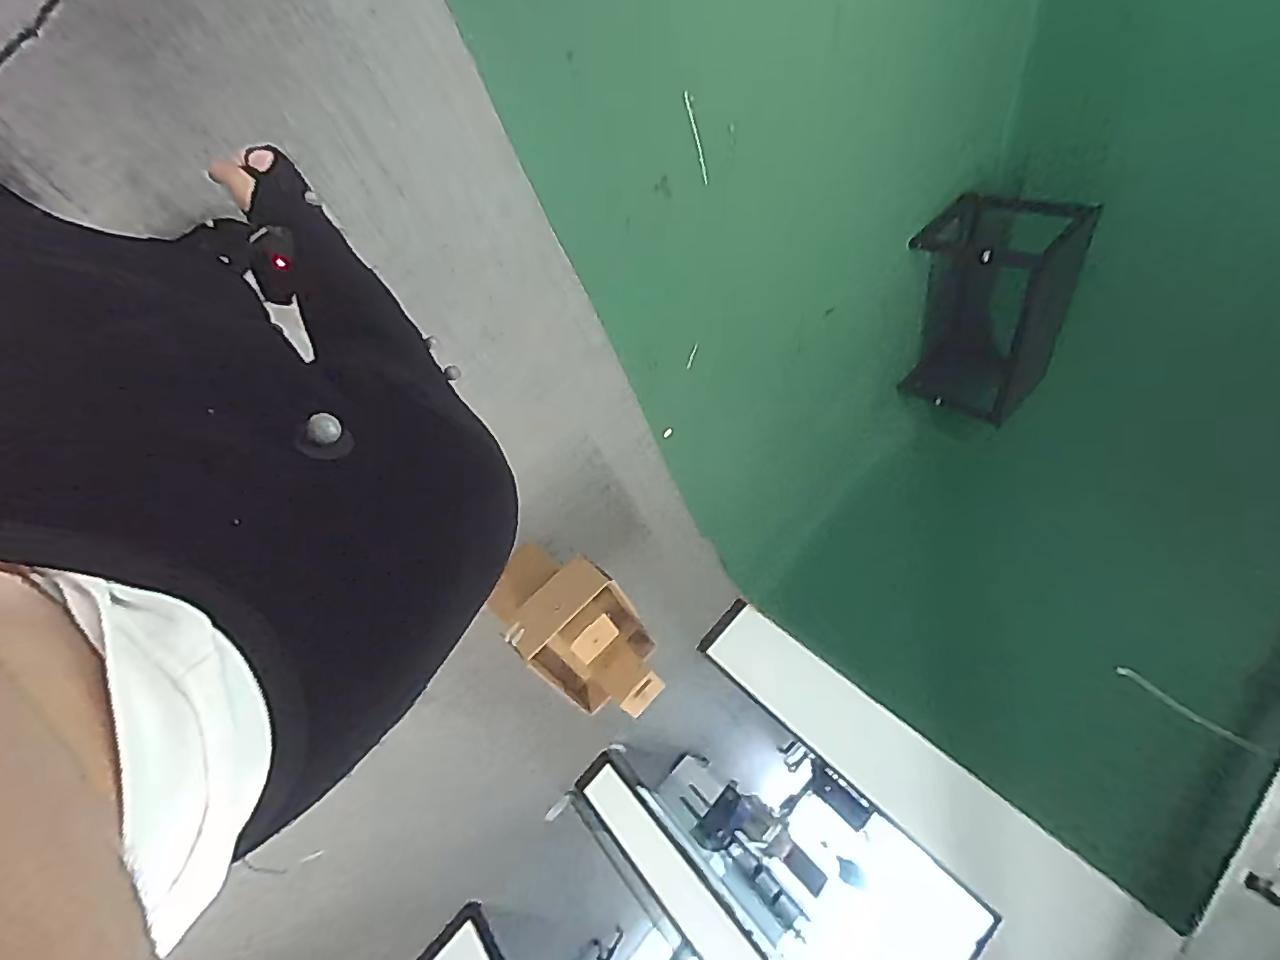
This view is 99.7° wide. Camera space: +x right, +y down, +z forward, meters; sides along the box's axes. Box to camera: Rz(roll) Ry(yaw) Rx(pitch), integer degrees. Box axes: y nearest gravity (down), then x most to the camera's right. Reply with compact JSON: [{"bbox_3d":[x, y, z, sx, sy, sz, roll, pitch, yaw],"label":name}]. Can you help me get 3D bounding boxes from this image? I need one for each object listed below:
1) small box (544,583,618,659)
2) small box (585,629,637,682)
[{"bbox_3d":[-0.212,0.501,1.937,0.168,0.176,0.179,-42,140,-15],"label":"small box"},{"bbox_3d":[-0.144,0.655,2.129,0.168,0.176,0.179,-42,138,-14],"label":"small box"}]
